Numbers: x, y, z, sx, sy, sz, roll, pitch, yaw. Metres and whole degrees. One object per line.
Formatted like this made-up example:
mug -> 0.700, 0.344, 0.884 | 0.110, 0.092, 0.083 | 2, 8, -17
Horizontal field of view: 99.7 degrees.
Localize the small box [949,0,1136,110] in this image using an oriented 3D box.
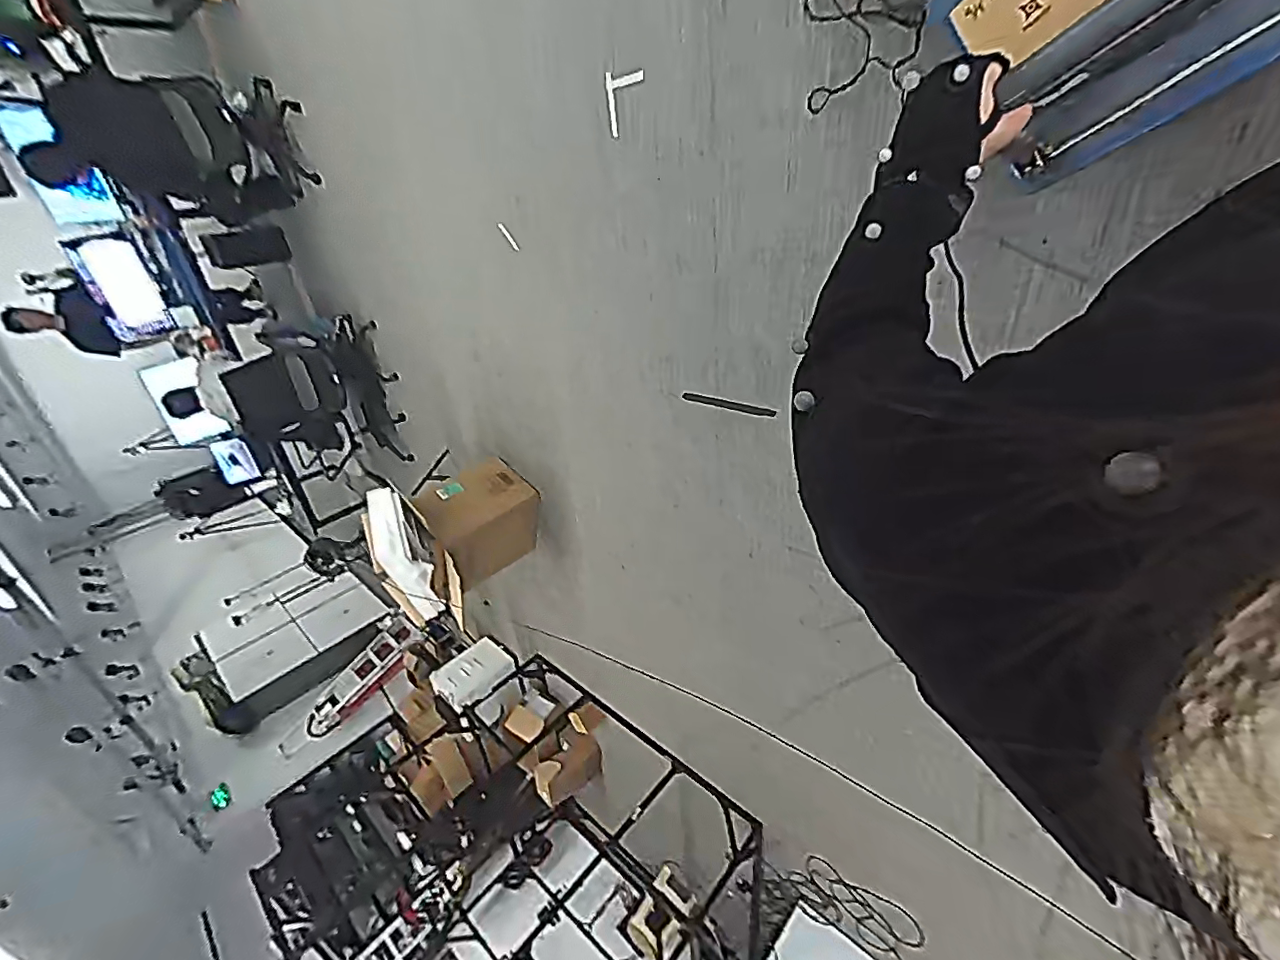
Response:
small box -> 0.619, -0.711, 0.828 | 0.168, 0.176, 0.179 | -27, 95, 51
